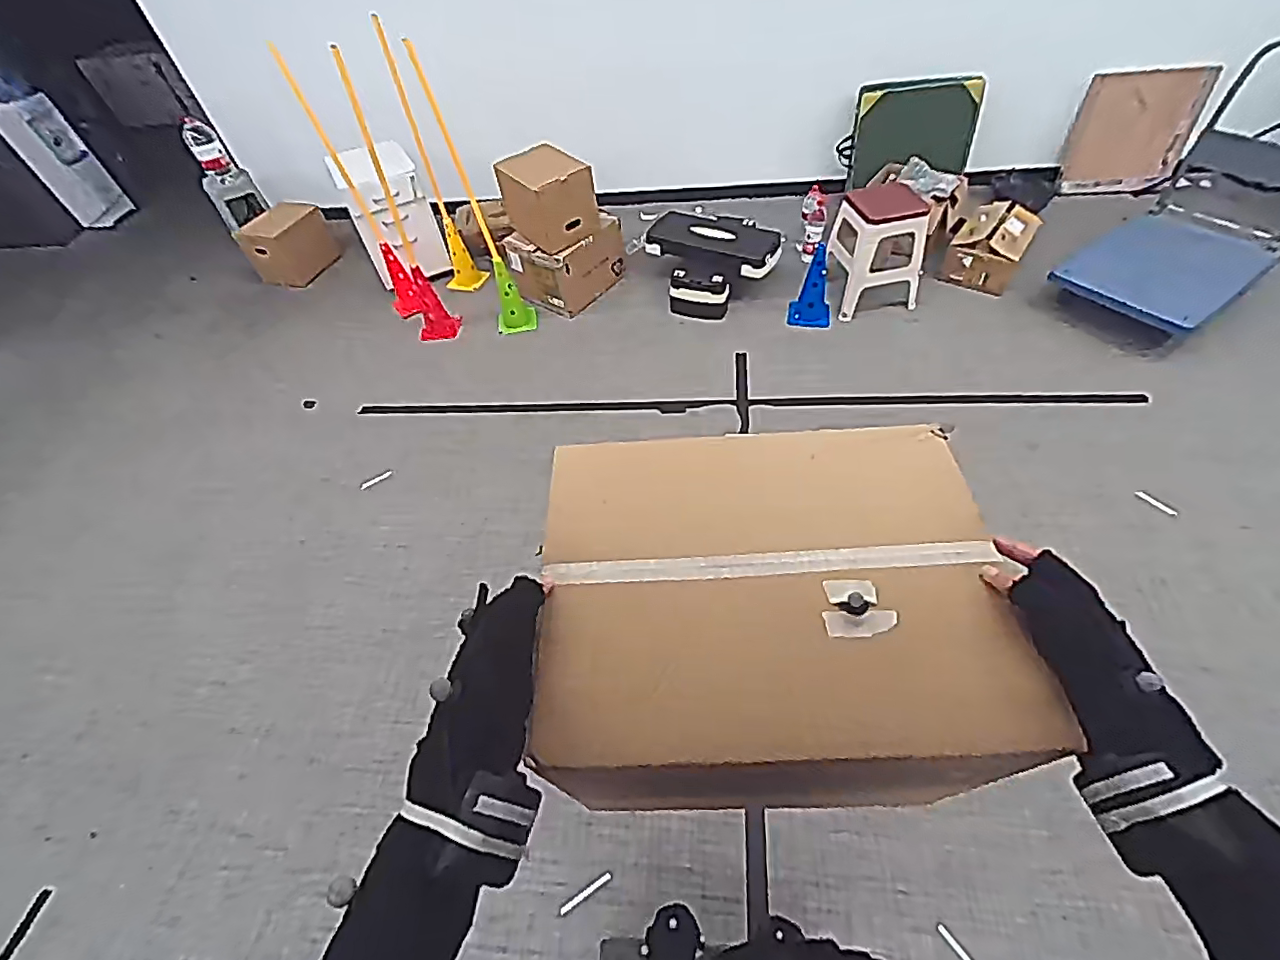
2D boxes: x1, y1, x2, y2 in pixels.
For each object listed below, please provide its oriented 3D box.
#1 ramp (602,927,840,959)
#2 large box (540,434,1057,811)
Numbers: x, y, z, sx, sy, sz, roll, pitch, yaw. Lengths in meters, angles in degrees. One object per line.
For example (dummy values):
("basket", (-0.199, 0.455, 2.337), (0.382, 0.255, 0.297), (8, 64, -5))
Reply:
("ramp", (0.141, 1.388, 0.892), (0.509, 0.206, 0.991), (-1, 52, 5))
("large box", (0.122, 0.174, 0.618), (0.408, 0.320, 0.320), (-3, 53, 2))
